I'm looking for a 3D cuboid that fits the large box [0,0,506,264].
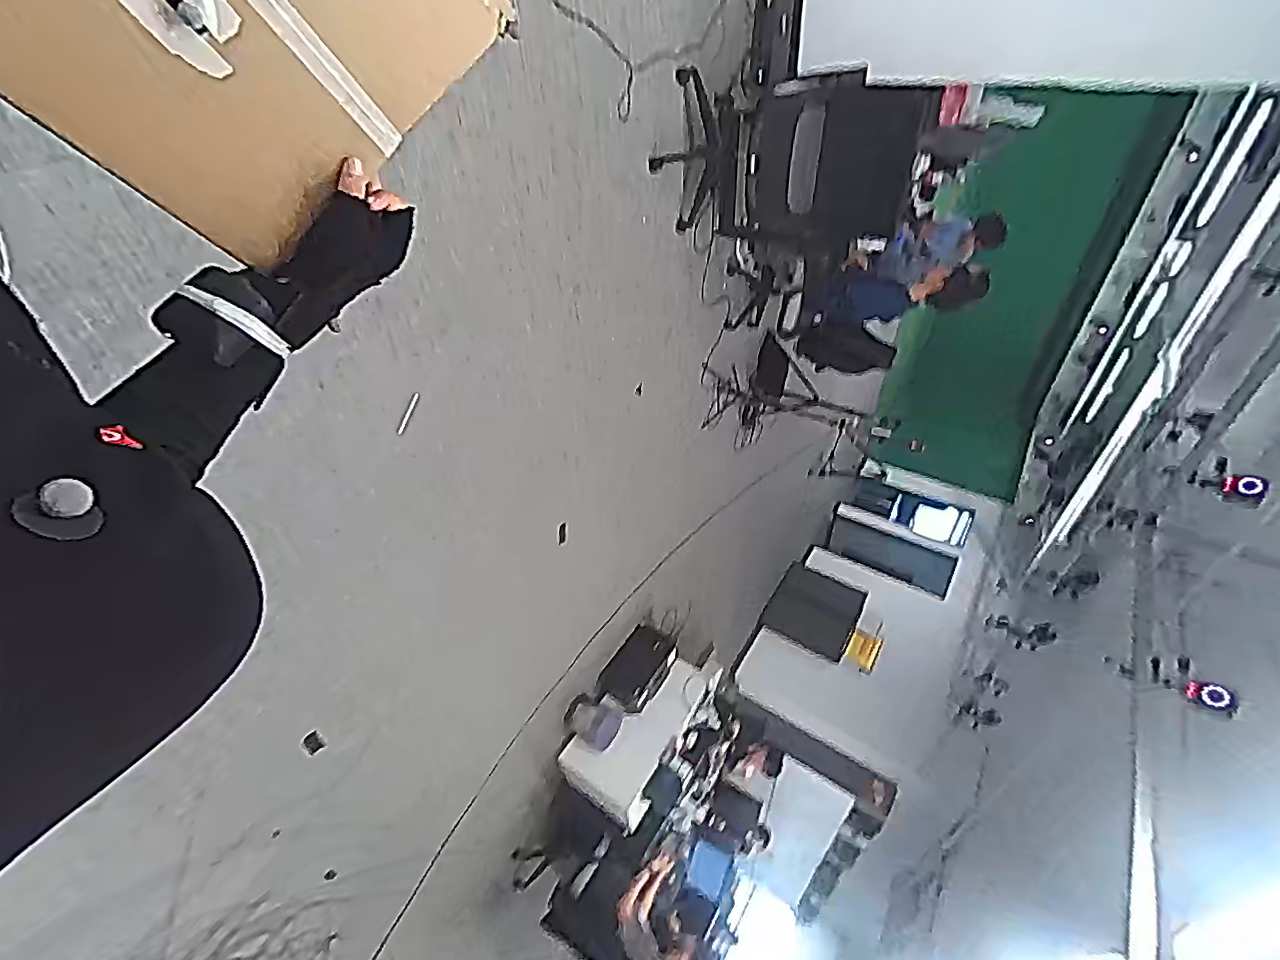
[{"bbox_3d":[-0.385,-0.446,0.369,0.320,0.320,0.408,-47,152,0],"label":"large box"}]
